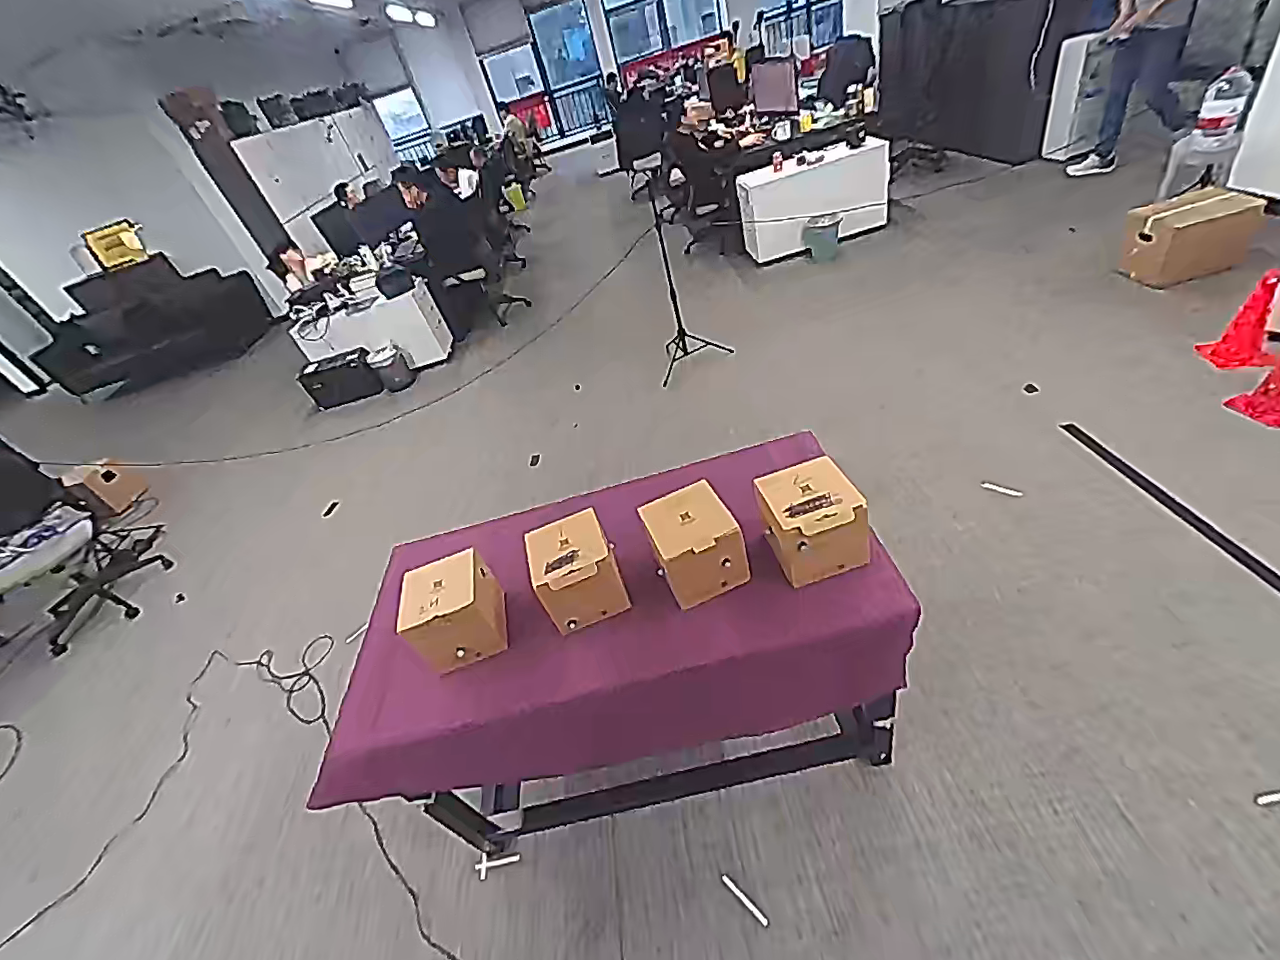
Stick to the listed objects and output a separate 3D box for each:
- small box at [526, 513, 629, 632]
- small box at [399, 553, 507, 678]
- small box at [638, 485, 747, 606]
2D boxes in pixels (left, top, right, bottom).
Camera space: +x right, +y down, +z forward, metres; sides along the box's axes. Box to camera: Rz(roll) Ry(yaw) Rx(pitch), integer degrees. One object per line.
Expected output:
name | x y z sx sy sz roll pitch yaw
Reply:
small box | -0.137 0.210 1.195 0.168 0.176 0.179 -22 37 -4
small box | -0.405 0.300 1.198 0.168 0.176 0.179 -21 38 -2
small box | 0.116 0.148 1.167 0.168 0.176 0.179 -23 38 -6
